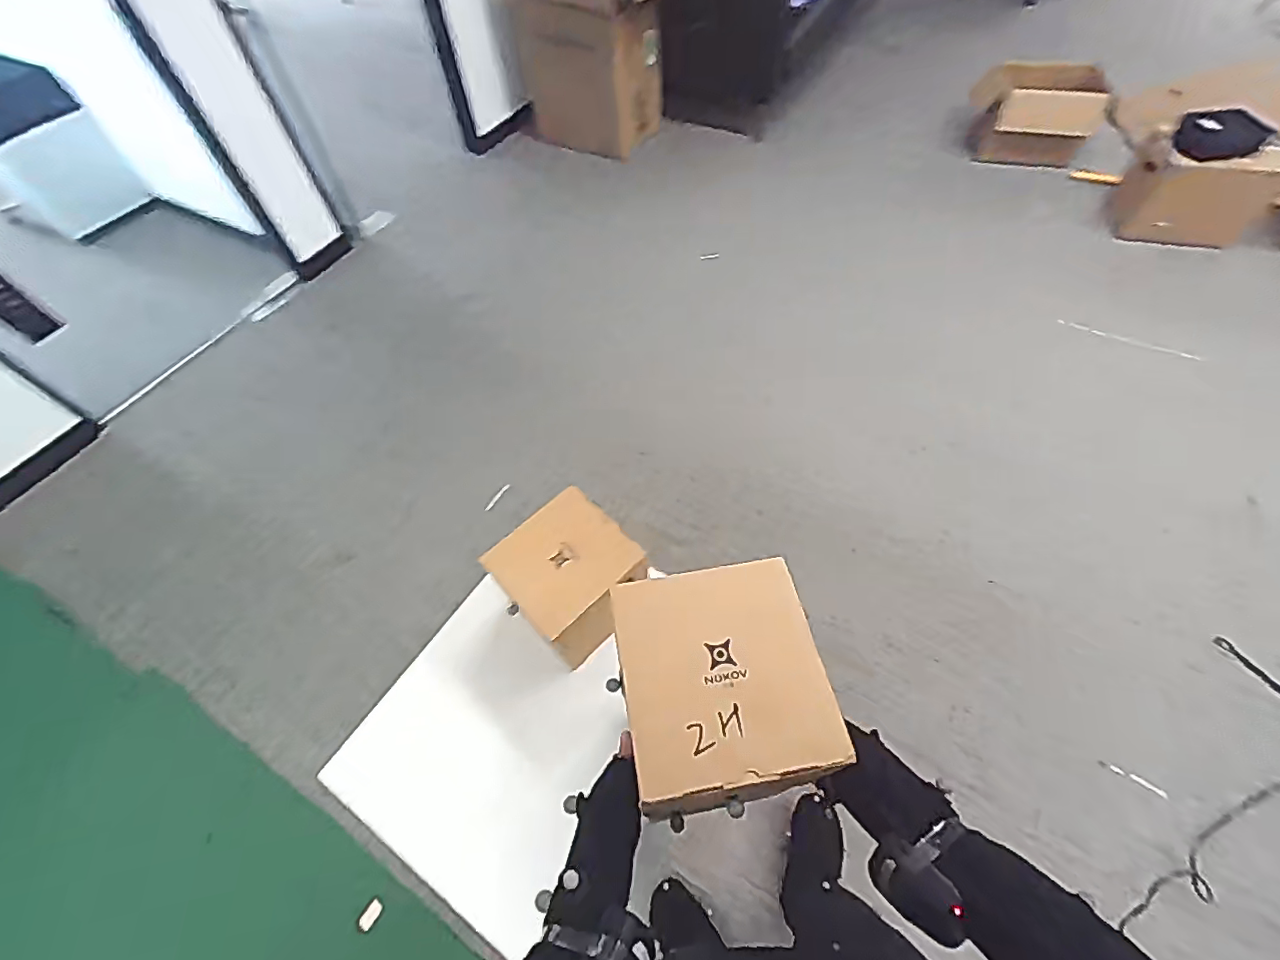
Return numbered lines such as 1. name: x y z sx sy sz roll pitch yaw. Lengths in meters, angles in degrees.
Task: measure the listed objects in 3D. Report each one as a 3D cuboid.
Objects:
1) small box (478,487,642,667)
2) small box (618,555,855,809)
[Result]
1. small box: -0.106 0.152 0.817 0.179 0.176 0.168 -41 63 -20
2. small box: 0.071 0.195 0.513 0.168 0.176 0.179 -8 56 -4
